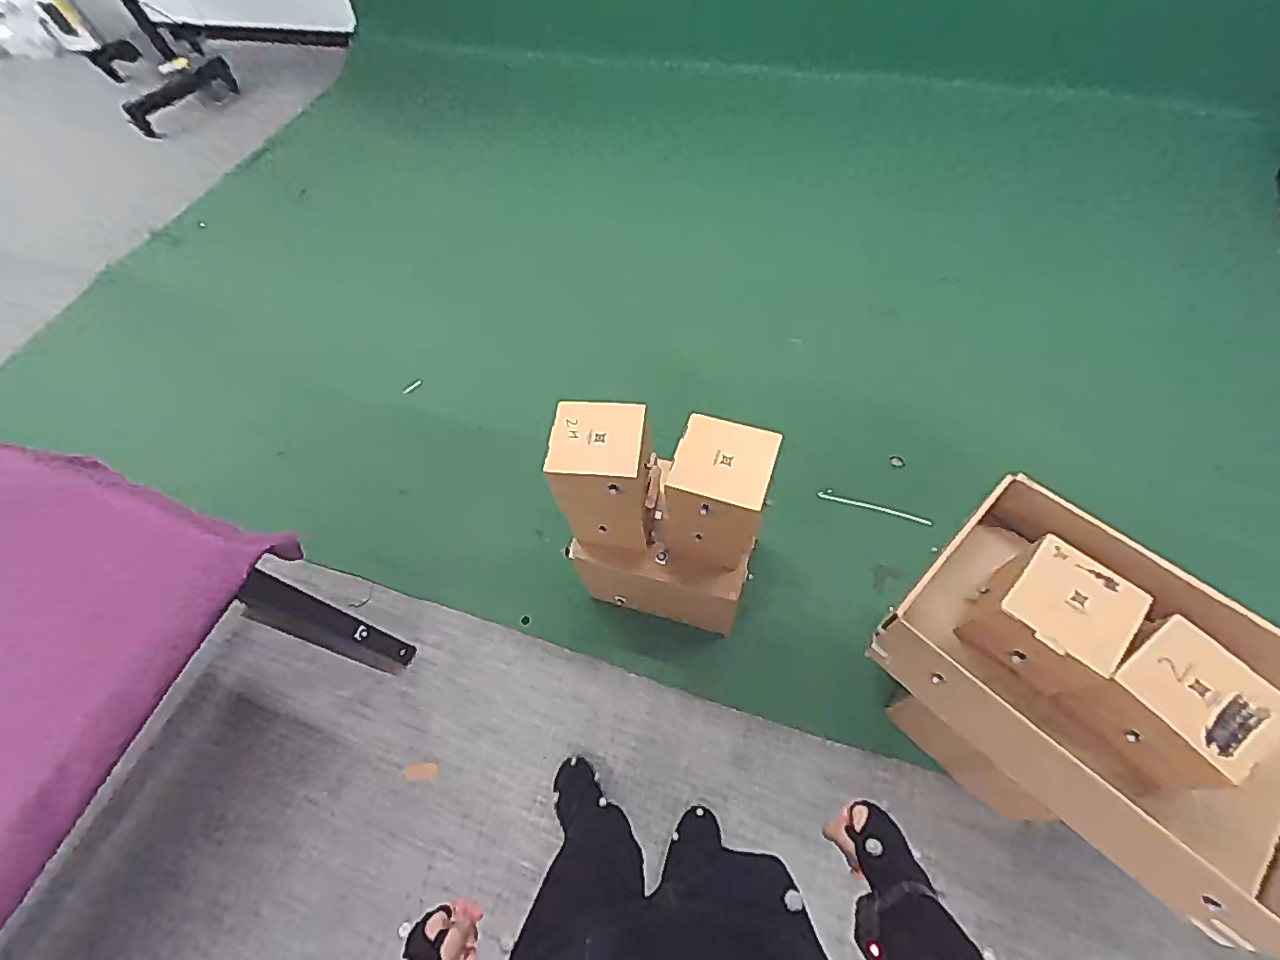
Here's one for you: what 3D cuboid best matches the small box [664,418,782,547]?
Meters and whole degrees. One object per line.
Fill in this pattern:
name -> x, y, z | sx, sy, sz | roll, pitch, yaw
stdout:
small box -> 0.159, 0.011, 1.038 | 0.179, 0.176, 0.168 | 15, 63, 16
